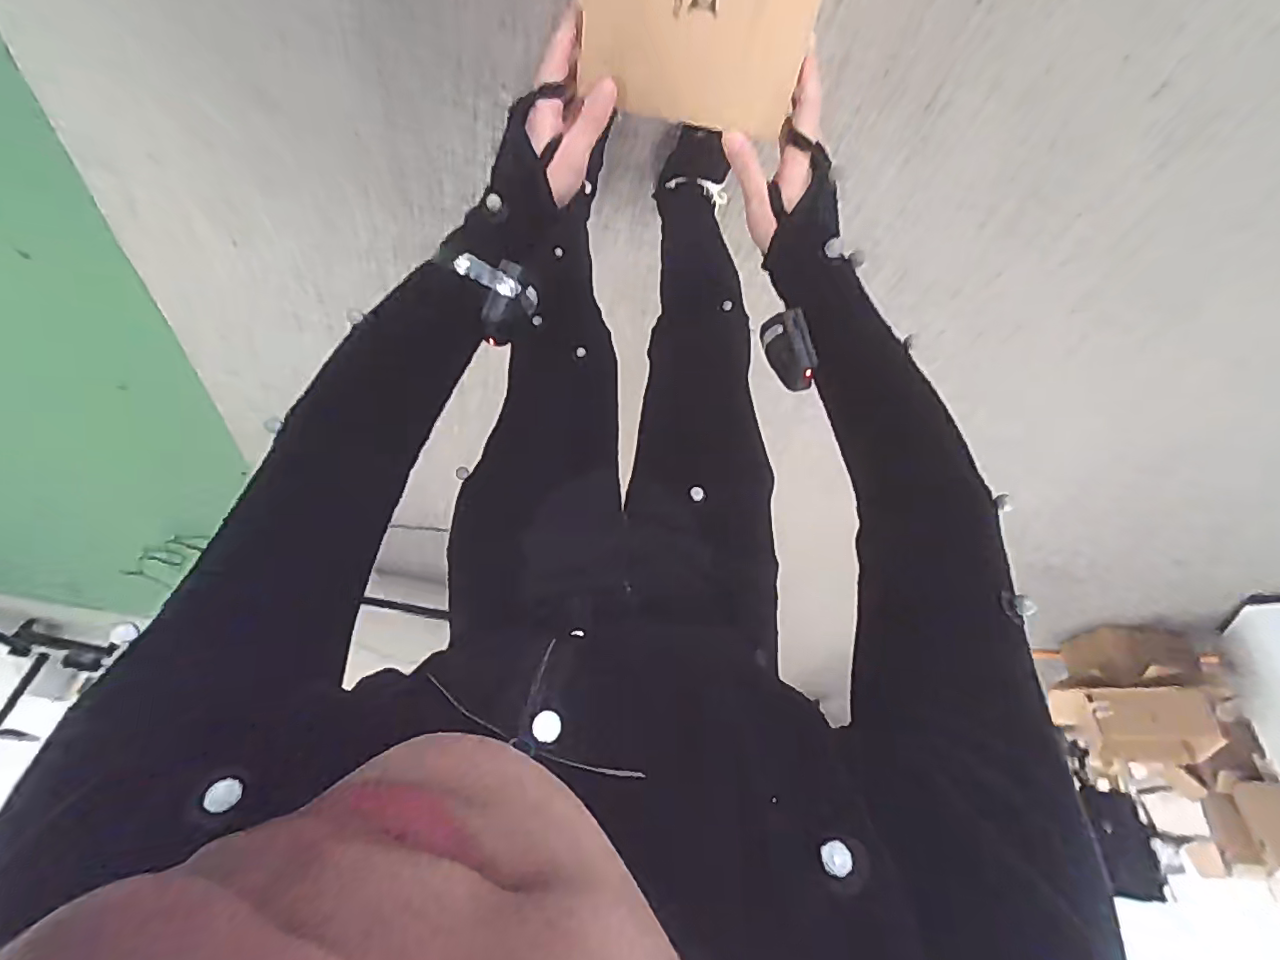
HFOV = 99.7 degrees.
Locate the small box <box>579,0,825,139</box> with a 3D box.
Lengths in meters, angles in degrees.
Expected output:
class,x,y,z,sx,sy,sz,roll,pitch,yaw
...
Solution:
class,x,y,z,sx,sy,sz,roll,pitch,yaw
small box,0.054,-0.413,0.442,0.179,0.176,0.168,9,140,-3
